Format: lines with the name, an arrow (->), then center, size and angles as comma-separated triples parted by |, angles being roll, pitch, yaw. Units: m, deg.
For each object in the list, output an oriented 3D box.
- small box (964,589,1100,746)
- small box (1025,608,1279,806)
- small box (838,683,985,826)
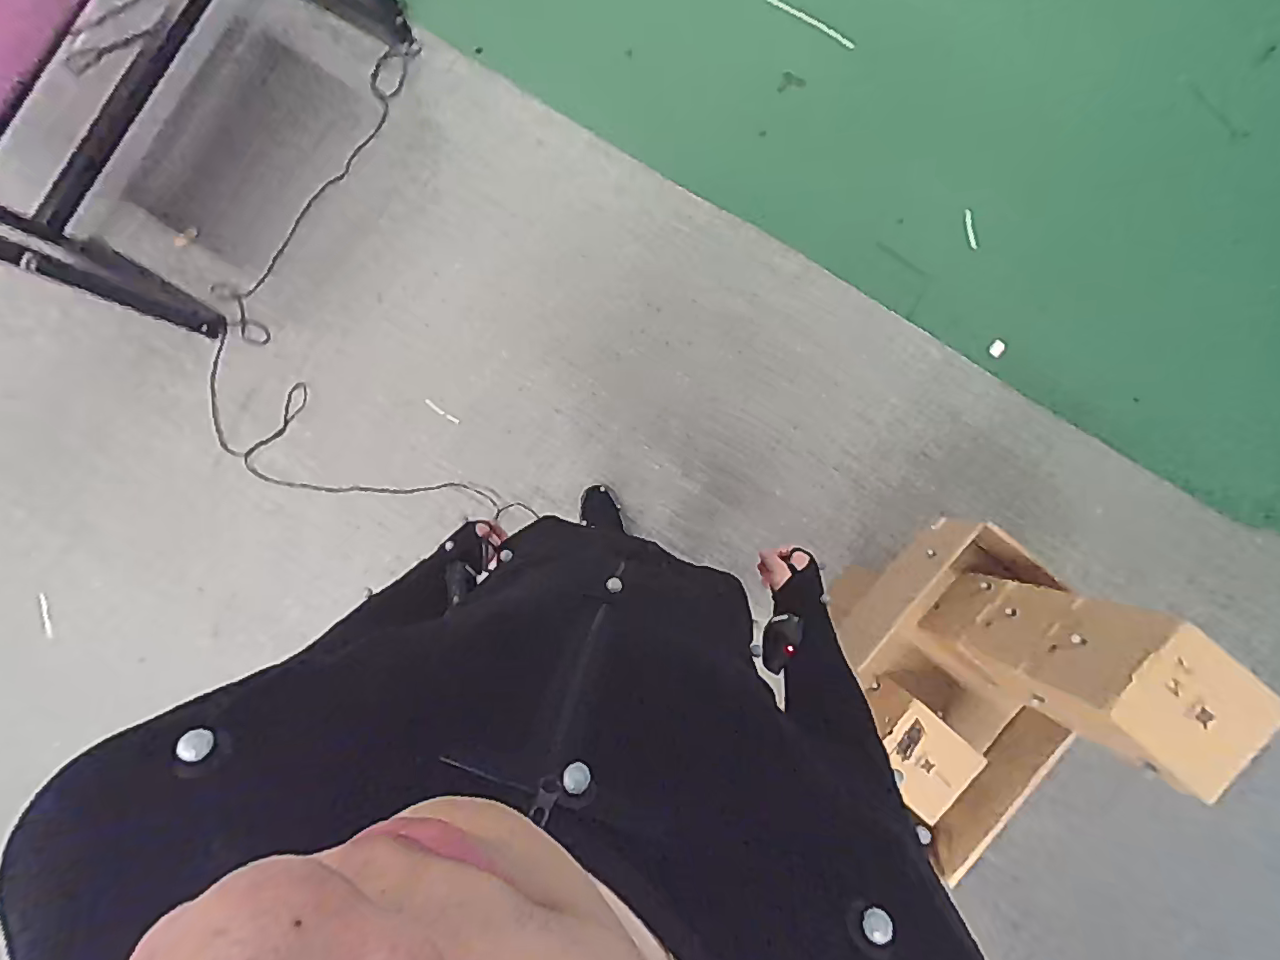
small box -> 0.725, 0.312, 0.945 | 0.179, 0.176, 0.168 | 42, 90, 3
small box -> 0.723, 0.308, 0.780 | 0.179, 0.176, 0.168 | 43, 89, 3
small box -> 0.538, 0.542, 1.102 | 0.179, 0.176, 0.168 | 42, 89, 3
